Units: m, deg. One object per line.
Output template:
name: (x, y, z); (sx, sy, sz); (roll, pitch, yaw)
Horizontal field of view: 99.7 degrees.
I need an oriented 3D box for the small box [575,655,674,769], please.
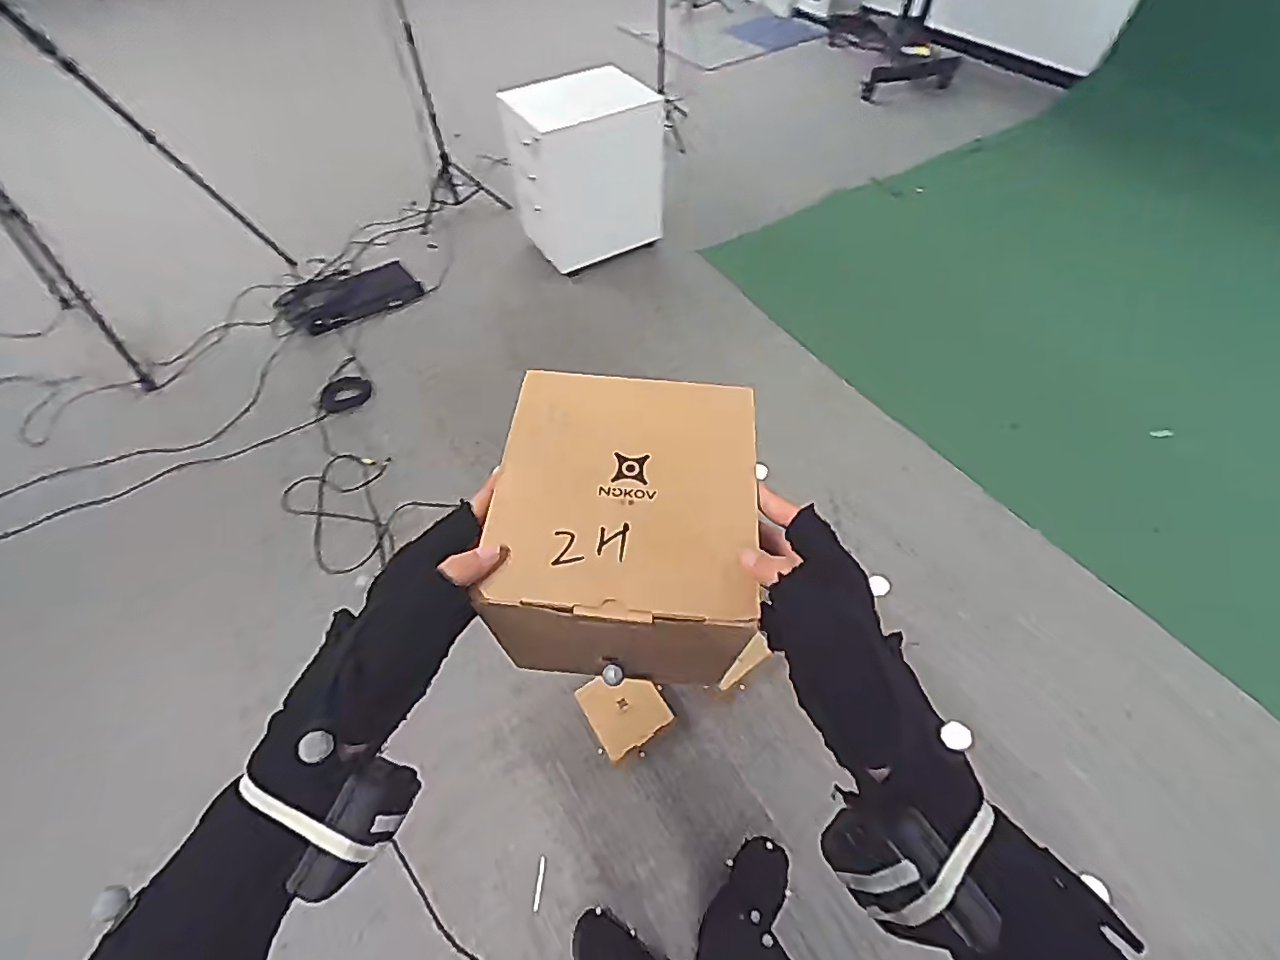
small box: (-0.038, 0.556, 1.285); (0.168, 0.176, 0.179); (-30, 60, -18)
